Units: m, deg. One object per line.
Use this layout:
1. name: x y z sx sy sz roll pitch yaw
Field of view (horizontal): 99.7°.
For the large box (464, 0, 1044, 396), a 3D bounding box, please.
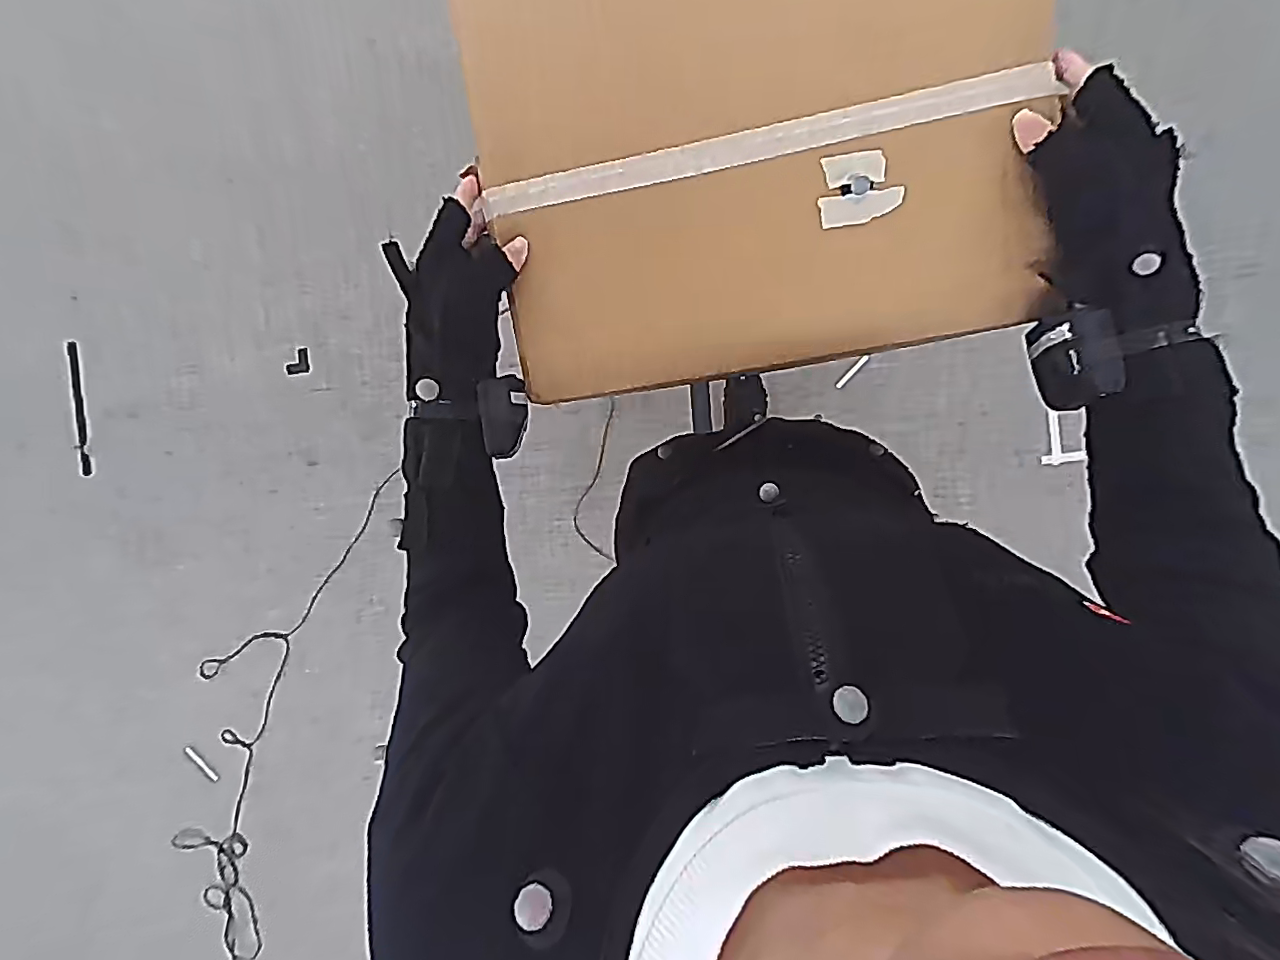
1. large box: 0.096 -0.273 0.554 0.408 0.320 0.320 -9 99 6
